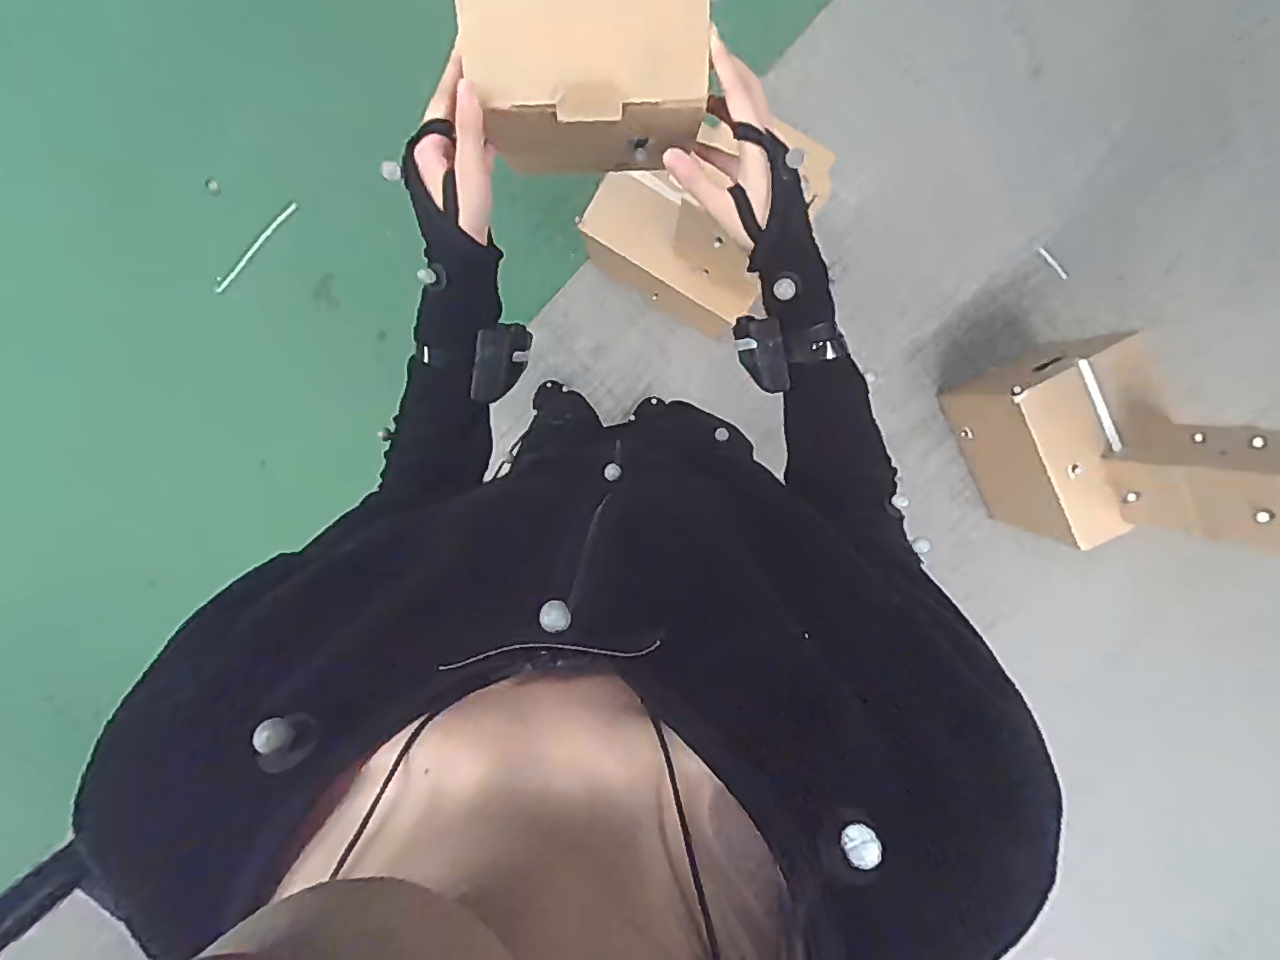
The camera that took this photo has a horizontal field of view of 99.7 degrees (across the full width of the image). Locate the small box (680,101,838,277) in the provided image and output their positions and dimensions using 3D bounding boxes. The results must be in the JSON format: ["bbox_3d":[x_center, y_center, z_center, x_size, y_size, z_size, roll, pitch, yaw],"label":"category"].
[{"bbox_3d":[0.181,-0.453,0.880,0.179,0.176,0.168,31,97,-2],"label":"small box"}]

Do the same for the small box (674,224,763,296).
[{"bbox_3d":[0.183,-0.477,1.043,0.179,0.176,0.168,35,96,-5],"label":"small box"}]

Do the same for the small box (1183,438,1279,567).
[{"bbox_3d":[1.129,0.036,0.948,0.168,0.176,0.179,-25,96,2],"label":"small box"}]

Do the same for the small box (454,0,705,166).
[{"bbox_3d":[-0.040,-0.356,0.417,0.168,0.176,0.179,-2,106,-1],"label":"small box"}]

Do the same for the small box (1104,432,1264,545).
[{"bbox_3d":[1.122,0.008,1.108,0.179,0.176,0.168,-26,97,2],"label":"small box"}]

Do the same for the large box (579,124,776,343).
[{"bbox_3d":[0.121,-0.568,1.278,0.408,0.320,0.320,31,96,-3],"label":"large box"}]
